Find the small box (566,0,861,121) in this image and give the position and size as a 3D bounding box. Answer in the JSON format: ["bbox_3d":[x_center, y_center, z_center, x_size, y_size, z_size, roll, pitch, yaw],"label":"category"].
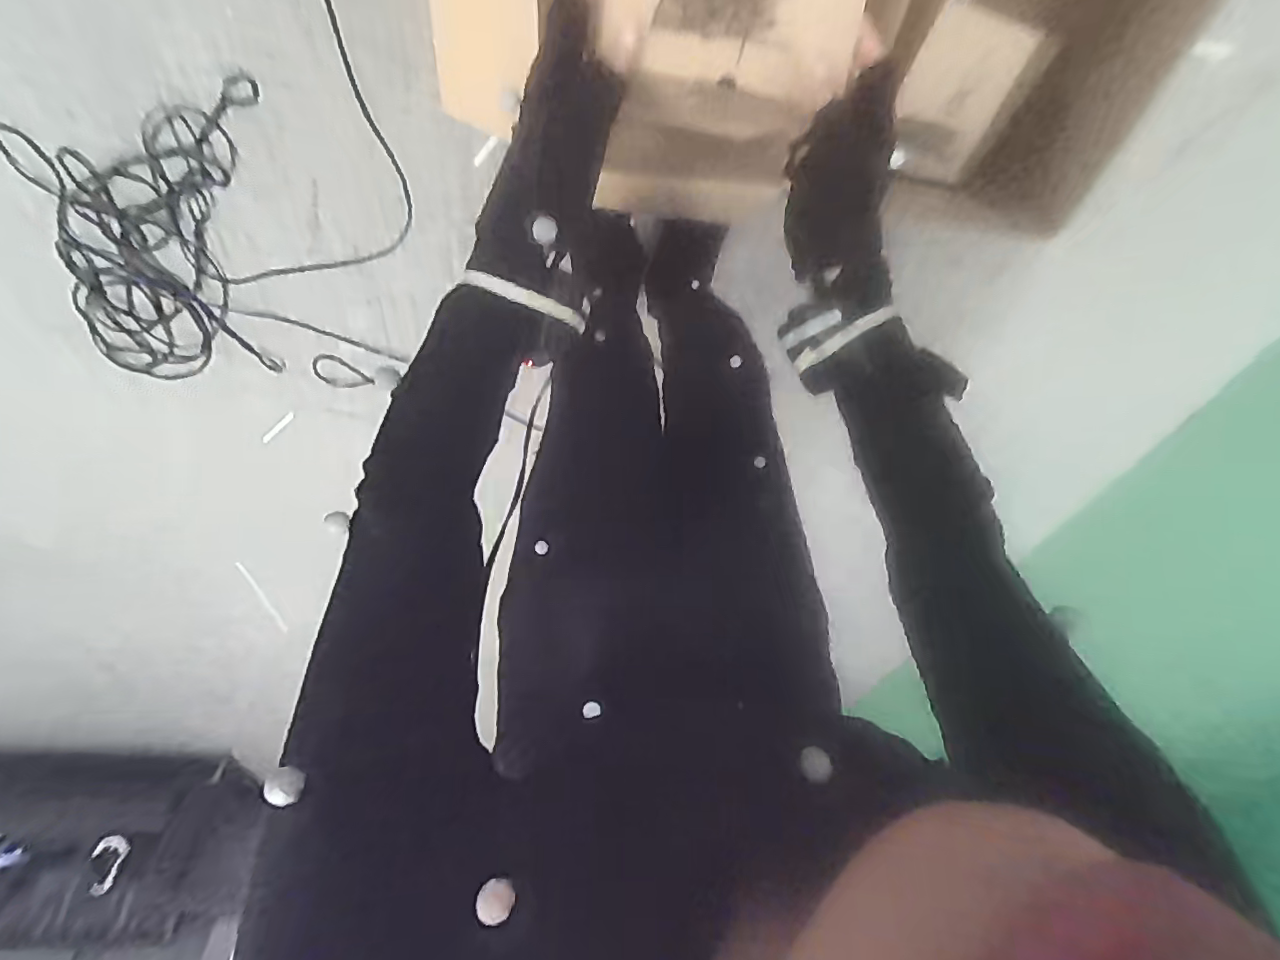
[{"bbox_3d":[0.043,-0.360,0.362,0.168,0.176,0.179,1,118,-15],"label":"small box"}]
